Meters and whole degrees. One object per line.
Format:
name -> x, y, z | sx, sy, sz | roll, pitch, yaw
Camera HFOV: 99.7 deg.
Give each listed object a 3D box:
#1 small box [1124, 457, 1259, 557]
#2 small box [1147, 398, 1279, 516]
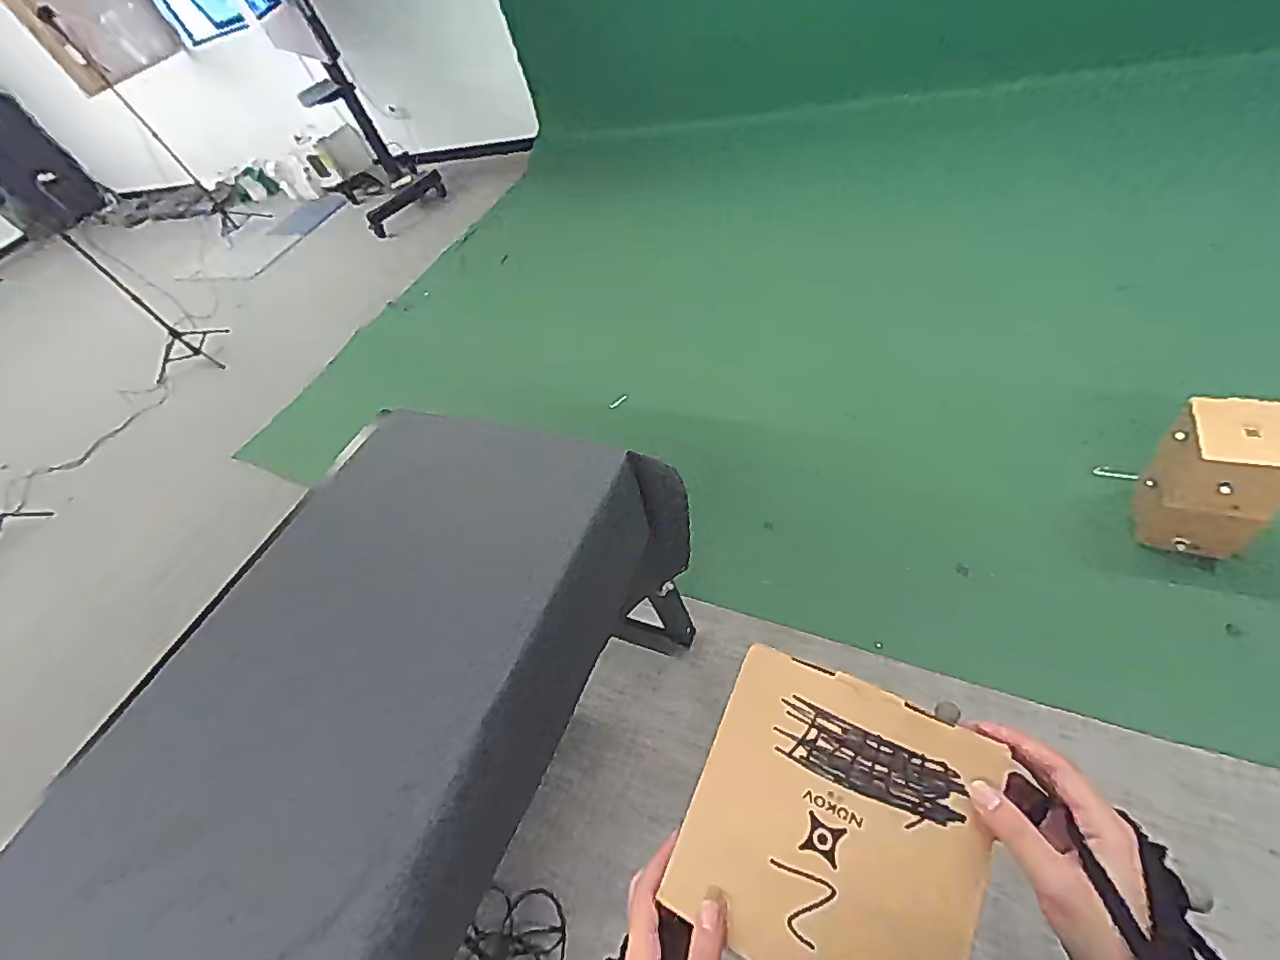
small box -> 1.251, 0.050, 1.244 | 0.168, 0.176, 0.179 | 10, 57, 26
small box -> 1.200, -0.046, 1.123 | 0.168, 0.176, 0.179 | 9, 55, 25
